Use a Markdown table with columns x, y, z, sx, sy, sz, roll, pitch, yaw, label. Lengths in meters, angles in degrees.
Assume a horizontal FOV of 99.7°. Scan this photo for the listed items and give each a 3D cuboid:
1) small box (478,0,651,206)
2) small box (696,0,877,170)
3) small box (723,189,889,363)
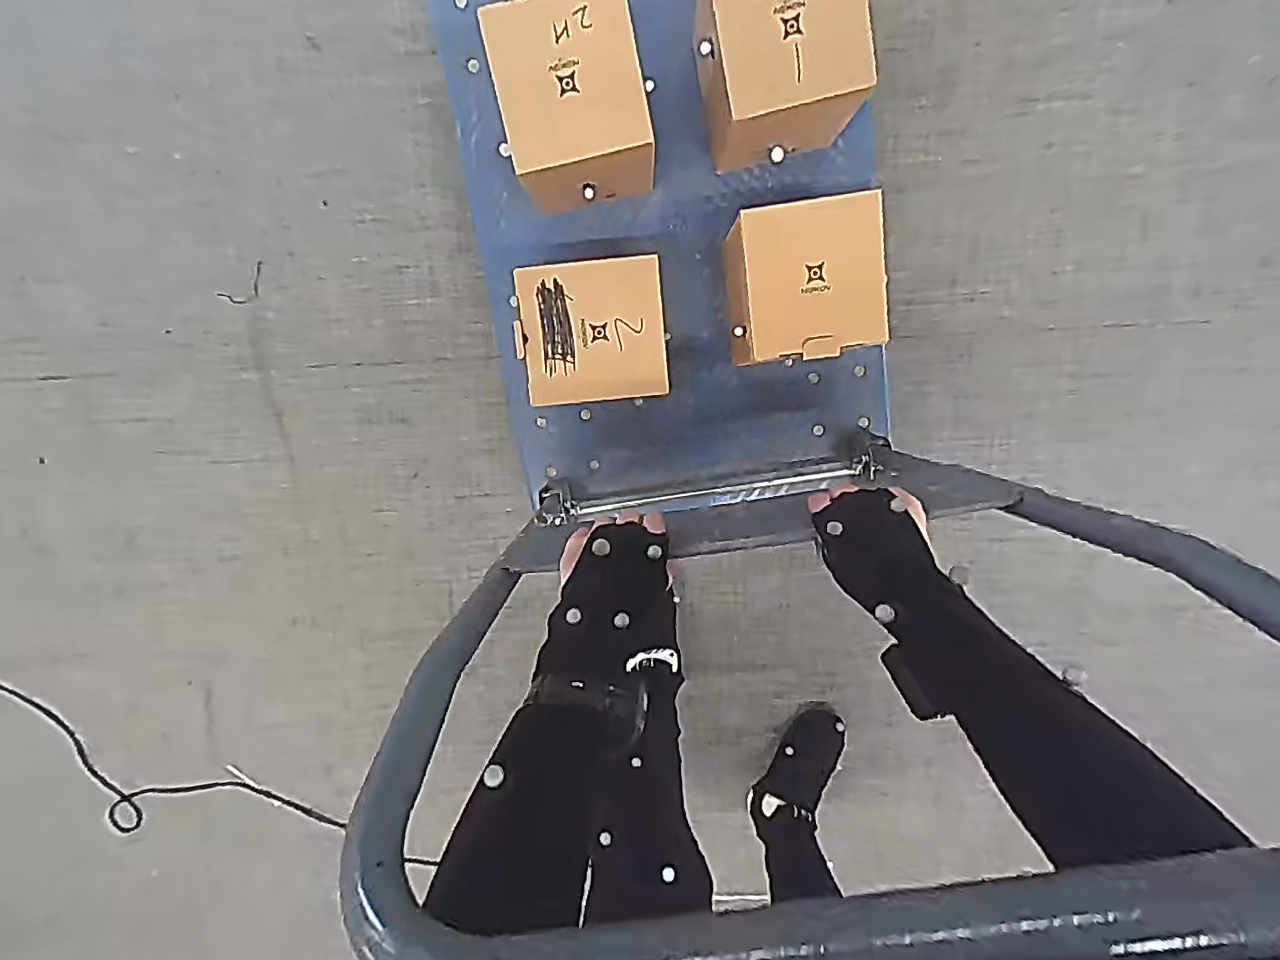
| x | y | z | sx | sy | sz | roll | pitch | yaw | label |
| --- | --- | --- | --- | --- | --- | --- | --- | --- | --- |
| -0.080 | -0.464 | 0.678 | 0.168 | 0.176 | 0.179 | -12 | 101 | 2 | small box |
| 0.167 | -0.518 | 0.664 | 0.168 | 0.176 | 0.179 | -12 | 102 | 4 | small box |
| 0.209 | -0.255 | 0.716 | 0.168 | 0.176 | 0.179 | -8 | 101 | 2 | small box |
